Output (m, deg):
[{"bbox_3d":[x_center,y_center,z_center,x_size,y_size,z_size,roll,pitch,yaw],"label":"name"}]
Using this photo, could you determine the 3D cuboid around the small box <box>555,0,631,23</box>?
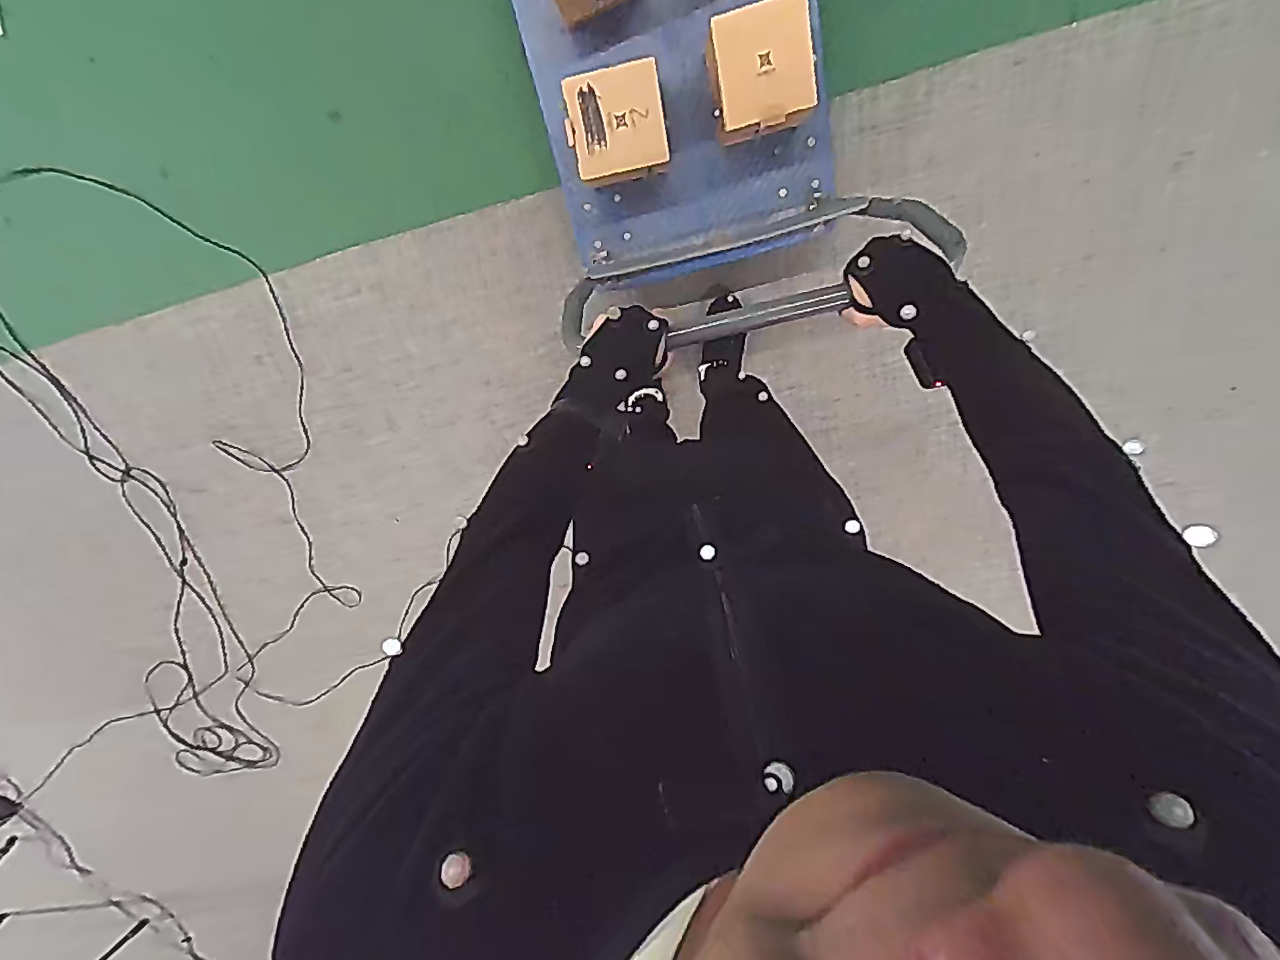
[{"bbox_3d":[-0.094,-0.950,0.949,0.168,0.176,0.179,-18,112,10],"label":"small box"}]

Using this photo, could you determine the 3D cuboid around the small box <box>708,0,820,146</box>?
[{"bbox_3d":[0.228,-0.761,1.020,0.168,0.176,0.179,-12,114,8],"label":"small box"}]
